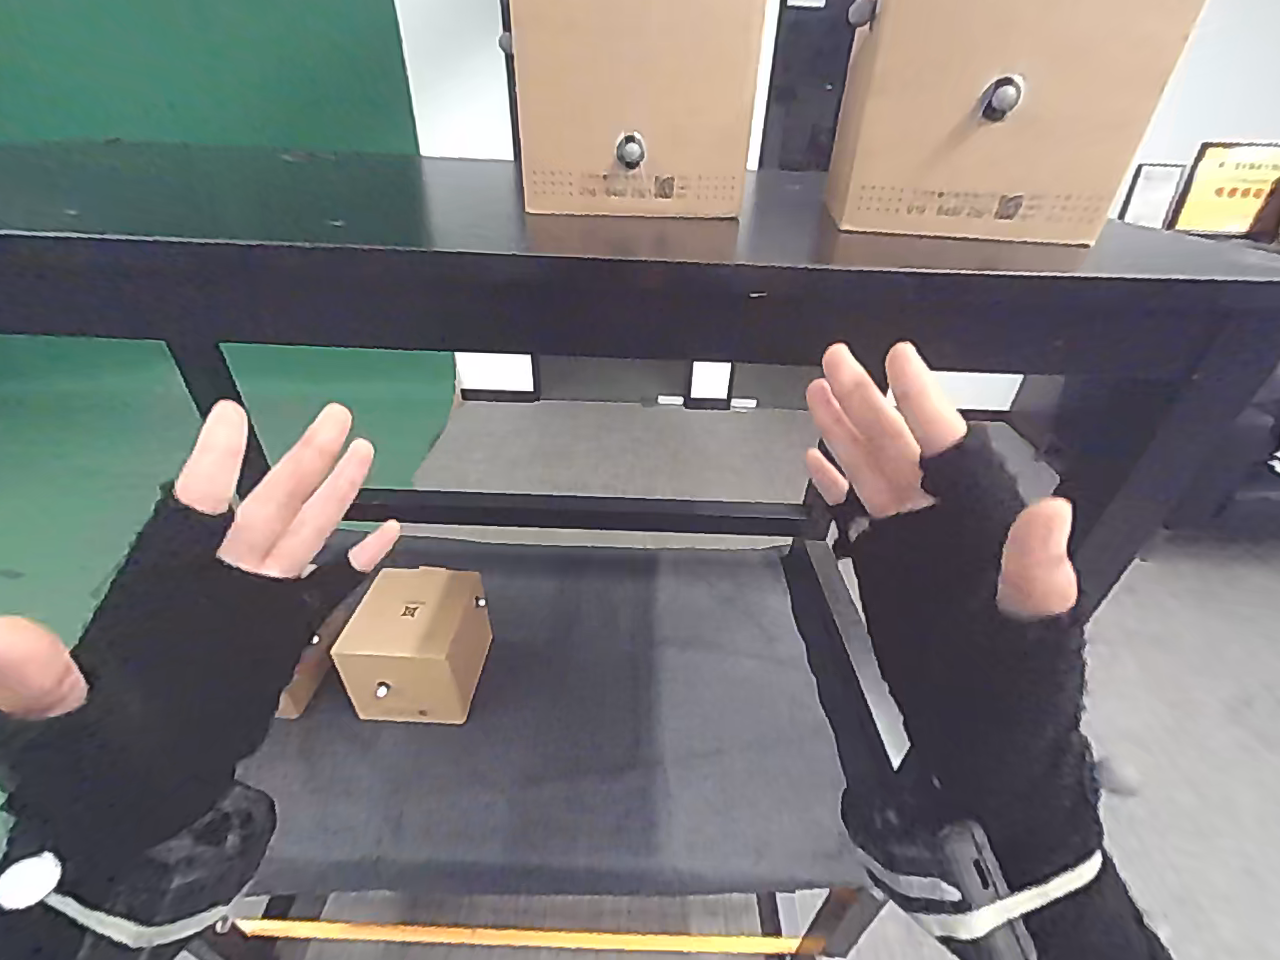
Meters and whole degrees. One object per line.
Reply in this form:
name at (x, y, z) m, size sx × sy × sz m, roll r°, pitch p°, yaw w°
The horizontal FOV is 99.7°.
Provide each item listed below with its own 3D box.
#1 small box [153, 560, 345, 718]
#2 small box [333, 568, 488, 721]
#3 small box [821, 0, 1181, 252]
small box at (-0.605, 0.252, 0.870) m, size 0.168 × 0.176 × 0.179 m, roll 3°, pitch 34°, yaw 0°
small box at (-0.352, 0.265, 0.872) m, size 0.168 × 0.176 × 0.179 m, roll 3°, pitch 34°, yaw 0°
small box at (0.239, -0.276, 0.402) m, size 0.168 × 0.176 × 0.179 m, roll 9°, pitch 34°, yaw 9°
